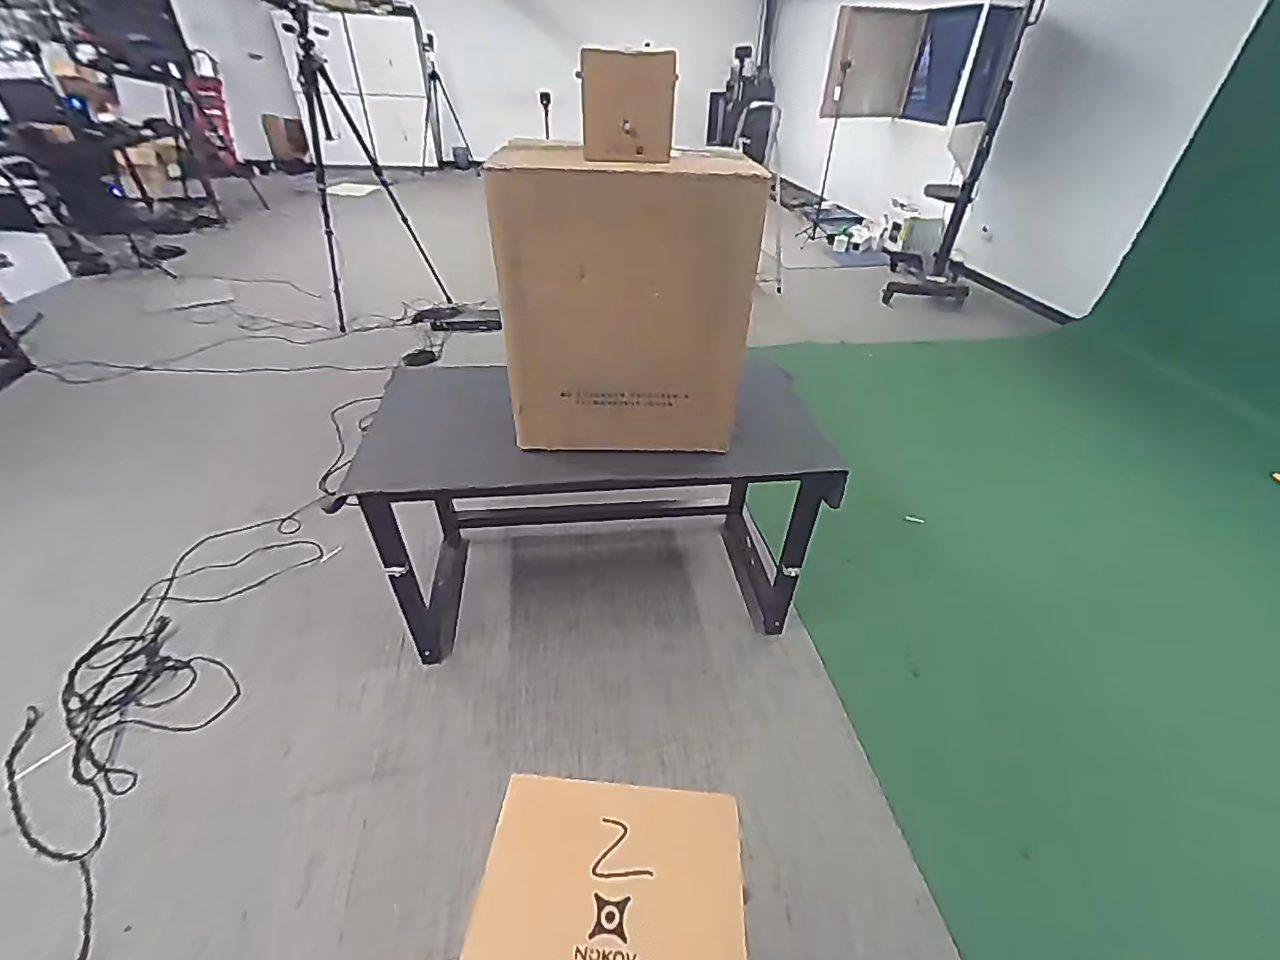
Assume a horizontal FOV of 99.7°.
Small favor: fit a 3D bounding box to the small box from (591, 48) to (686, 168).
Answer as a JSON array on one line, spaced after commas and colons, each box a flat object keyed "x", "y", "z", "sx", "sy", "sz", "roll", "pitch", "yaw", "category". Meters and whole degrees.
[{"x": -0.009, "y": -0.715, "z": 1.039, "sx": 0.168, "sy": 0.176, "sz": 0.179, "roll": 0, "pitch": 40, "yaw": -3, "category": "small box"}]
